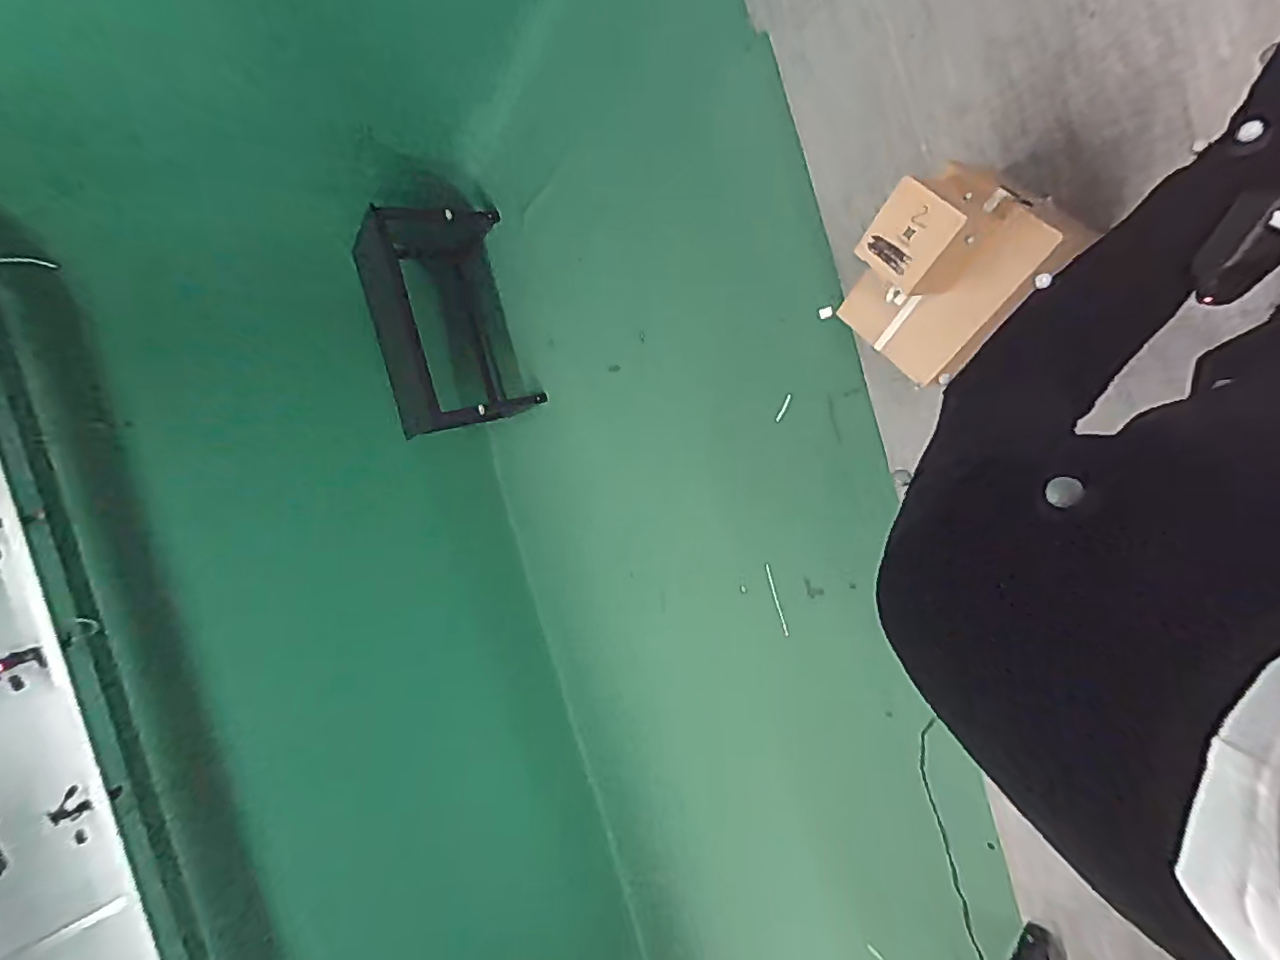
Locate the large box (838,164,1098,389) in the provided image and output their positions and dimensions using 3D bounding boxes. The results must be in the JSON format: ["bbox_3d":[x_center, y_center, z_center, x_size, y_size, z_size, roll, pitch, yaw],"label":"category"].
[{"bbox_3d":[0.791,-0.497,1.340,0.320,0.320,0.408,54,140,25],"label":"large box"}]
